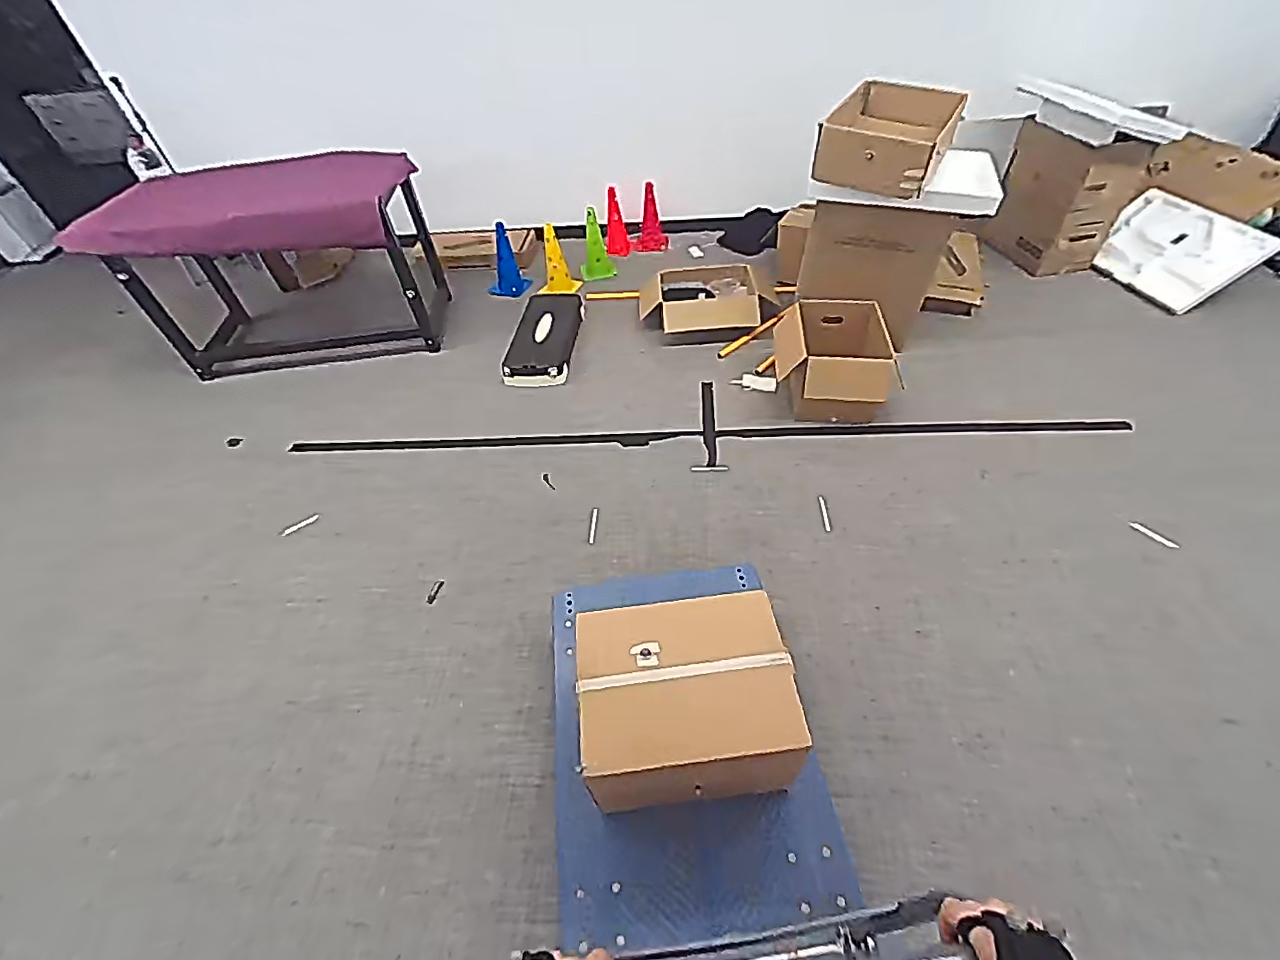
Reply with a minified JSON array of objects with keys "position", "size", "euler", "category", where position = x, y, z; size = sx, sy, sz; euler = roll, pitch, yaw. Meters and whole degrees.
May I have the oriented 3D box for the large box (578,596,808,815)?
[{"position":[0.097,0.485,1.155],"size":[0.408,0.320,0.320],"euler":[-8,47,-1],"category":"large box"}]
